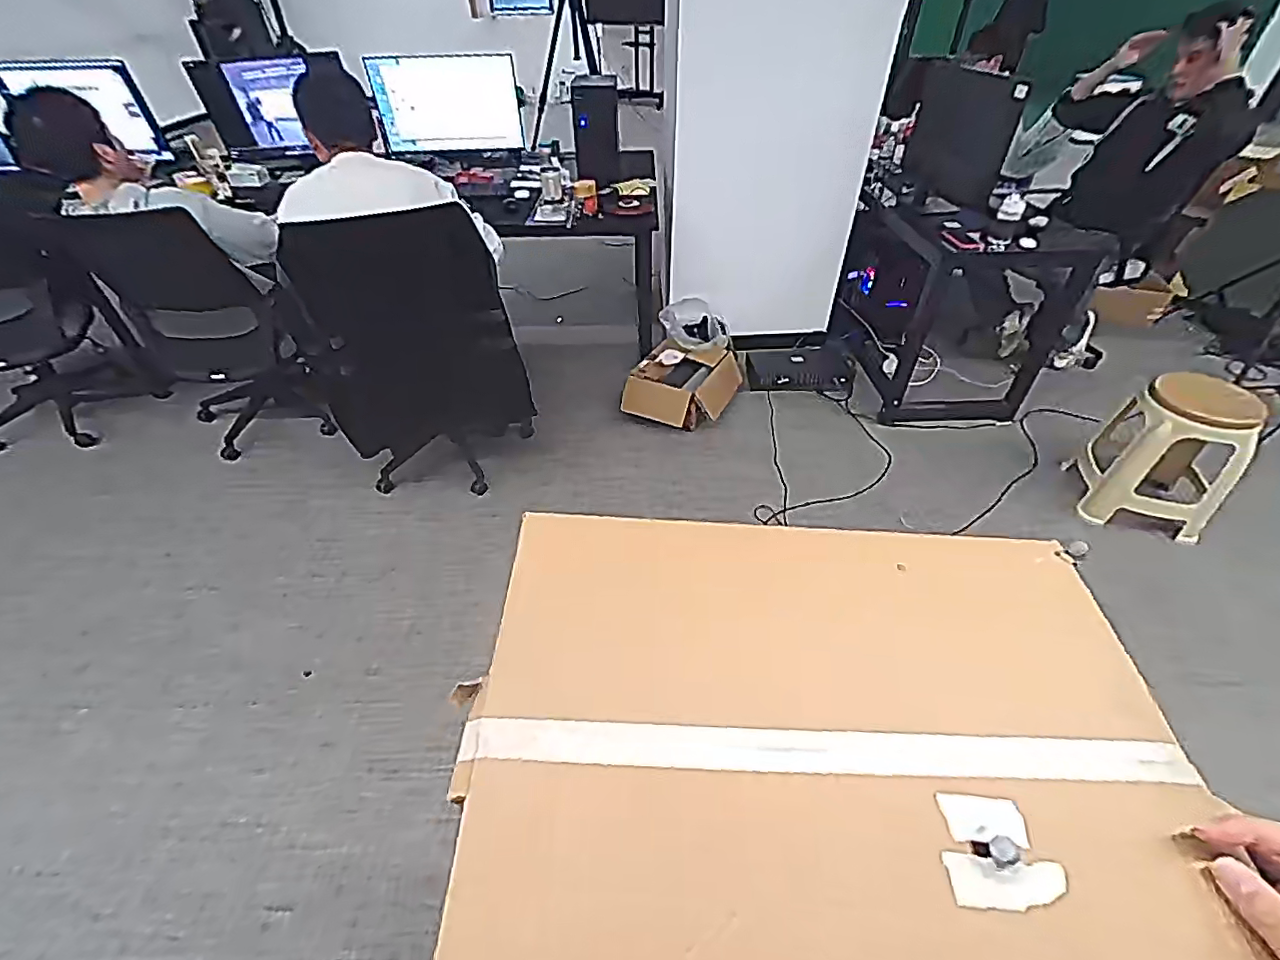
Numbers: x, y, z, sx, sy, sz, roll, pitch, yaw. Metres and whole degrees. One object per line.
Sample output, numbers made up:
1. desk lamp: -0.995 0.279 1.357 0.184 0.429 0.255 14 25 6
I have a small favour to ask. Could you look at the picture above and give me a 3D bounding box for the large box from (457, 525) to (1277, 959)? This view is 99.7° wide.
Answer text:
1. large box: 0.102 0.257 0.425 0.408 0.320 0.320 4 49 -3
